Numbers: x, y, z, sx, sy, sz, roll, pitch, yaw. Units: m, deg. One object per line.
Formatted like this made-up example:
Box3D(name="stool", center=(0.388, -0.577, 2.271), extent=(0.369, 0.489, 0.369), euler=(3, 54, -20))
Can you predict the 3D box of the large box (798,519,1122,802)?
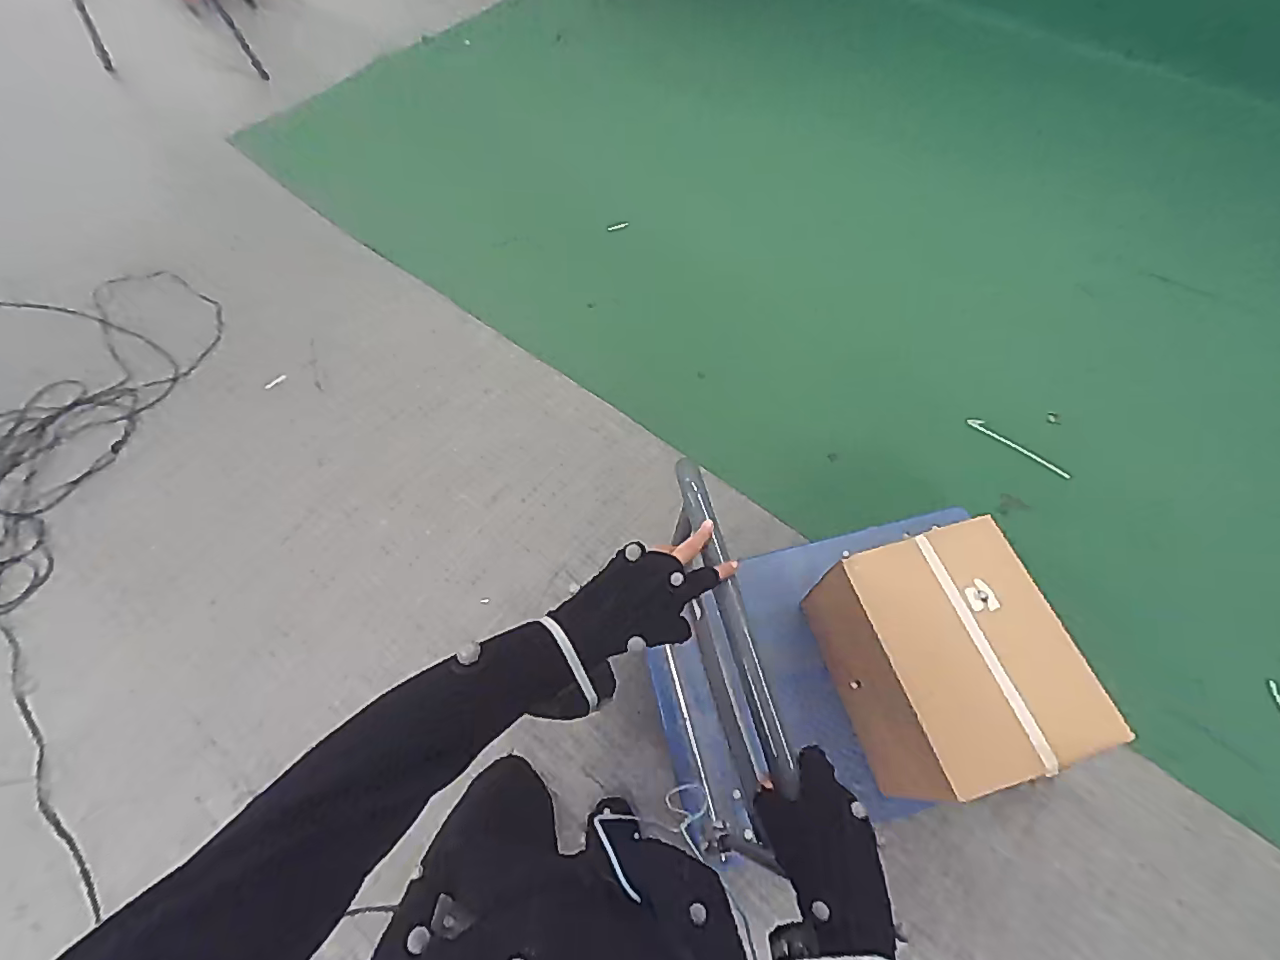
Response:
Box3D(name="large box", center=(0.556, 0.350, 1.044), extent=(0.320, 0.320, 0.408), euler=(-14, 61, -7))
